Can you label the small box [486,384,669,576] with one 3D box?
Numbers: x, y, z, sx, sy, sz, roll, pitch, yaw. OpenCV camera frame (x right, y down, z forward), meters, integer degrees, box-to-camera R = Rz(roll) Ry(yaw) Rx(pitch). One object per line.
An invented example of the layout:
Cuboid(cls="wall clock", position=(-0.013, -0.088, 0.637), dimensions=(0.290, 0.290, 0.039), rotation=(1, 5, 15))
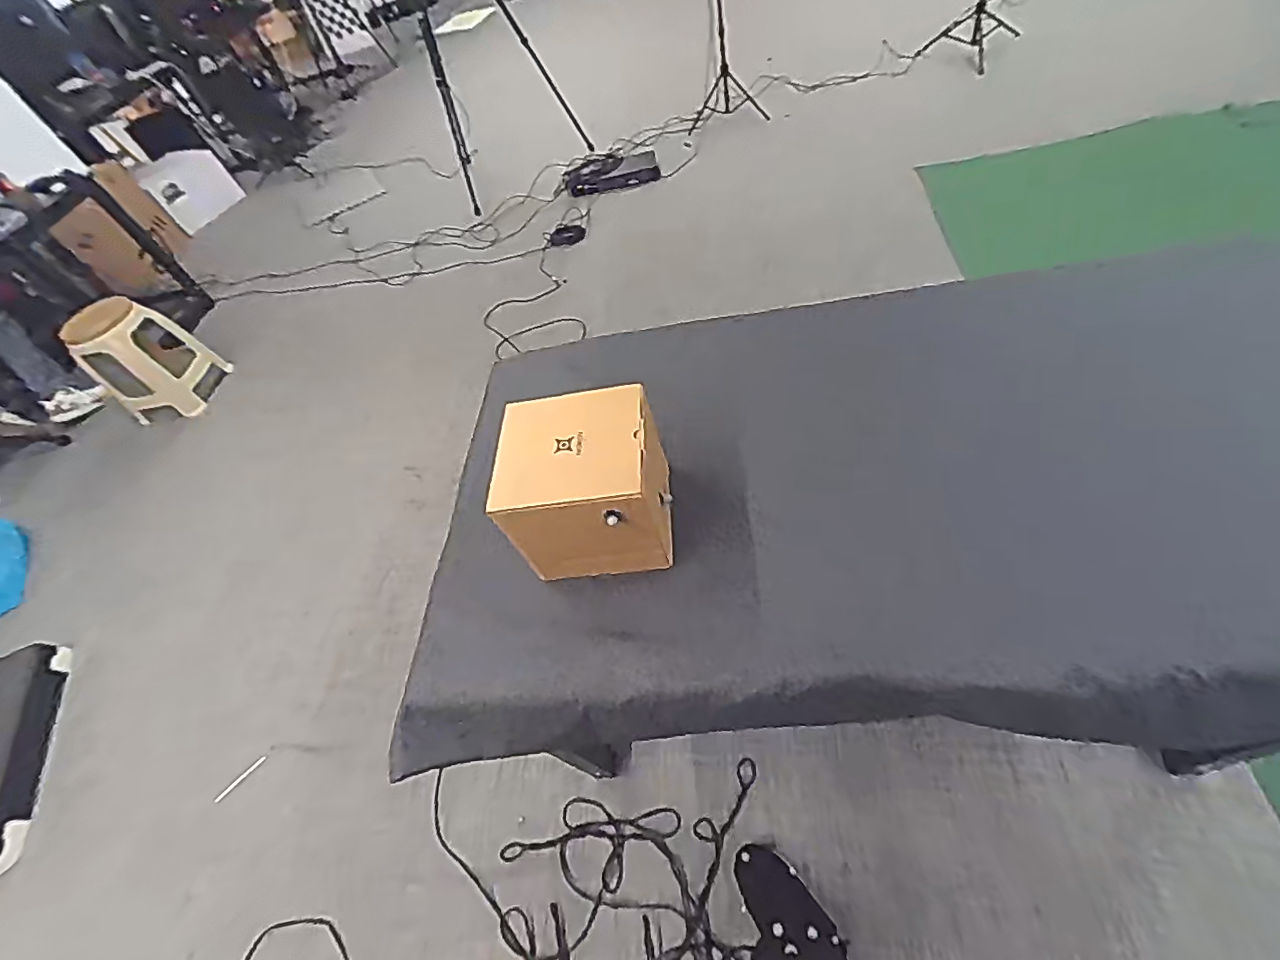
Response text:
Cuboid(cls="small box", position=(-0.065, 0.008, 0.676), dimensions=(0.179, 0.176, 0.168), rotation=(-8, 52, 9))
